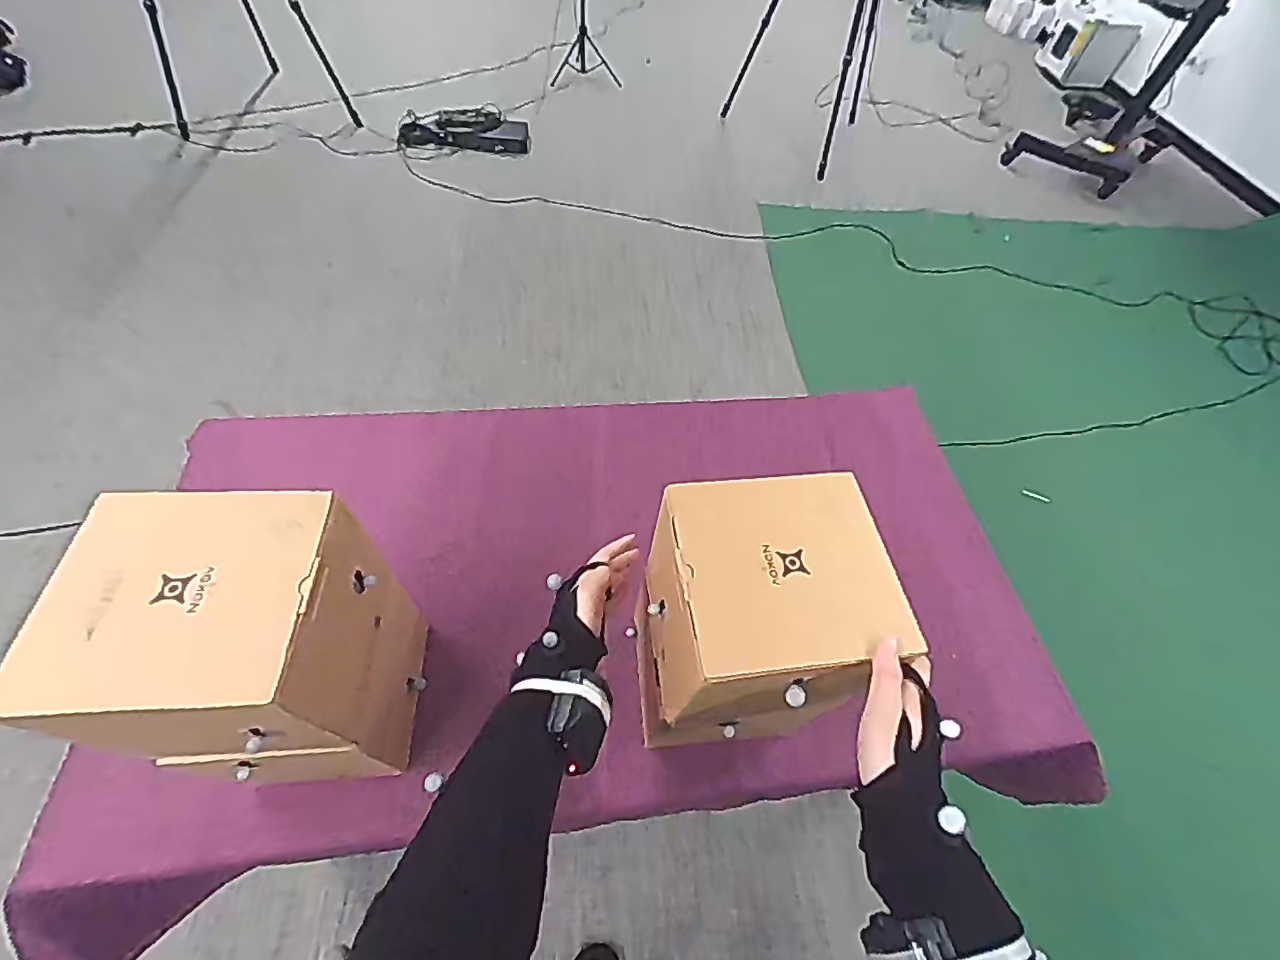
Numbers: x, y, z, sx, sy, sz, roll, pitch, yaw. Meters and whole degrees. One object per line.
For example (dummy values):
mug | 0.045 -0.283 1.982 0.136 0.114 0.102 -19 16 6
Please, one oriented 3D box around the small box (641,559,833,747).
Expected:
small box | 0.094 0.206 0.633 0.179 0.176 0.168 -2 56 -7

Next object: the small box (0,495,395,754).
small box | -0.327 0.126 0.452 0.179 0.176 0.168 0 55 -5

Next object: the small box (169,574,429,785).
small box | -0.340 0.218 0.587 0.168 0.176 0.179 -2 55 -5
